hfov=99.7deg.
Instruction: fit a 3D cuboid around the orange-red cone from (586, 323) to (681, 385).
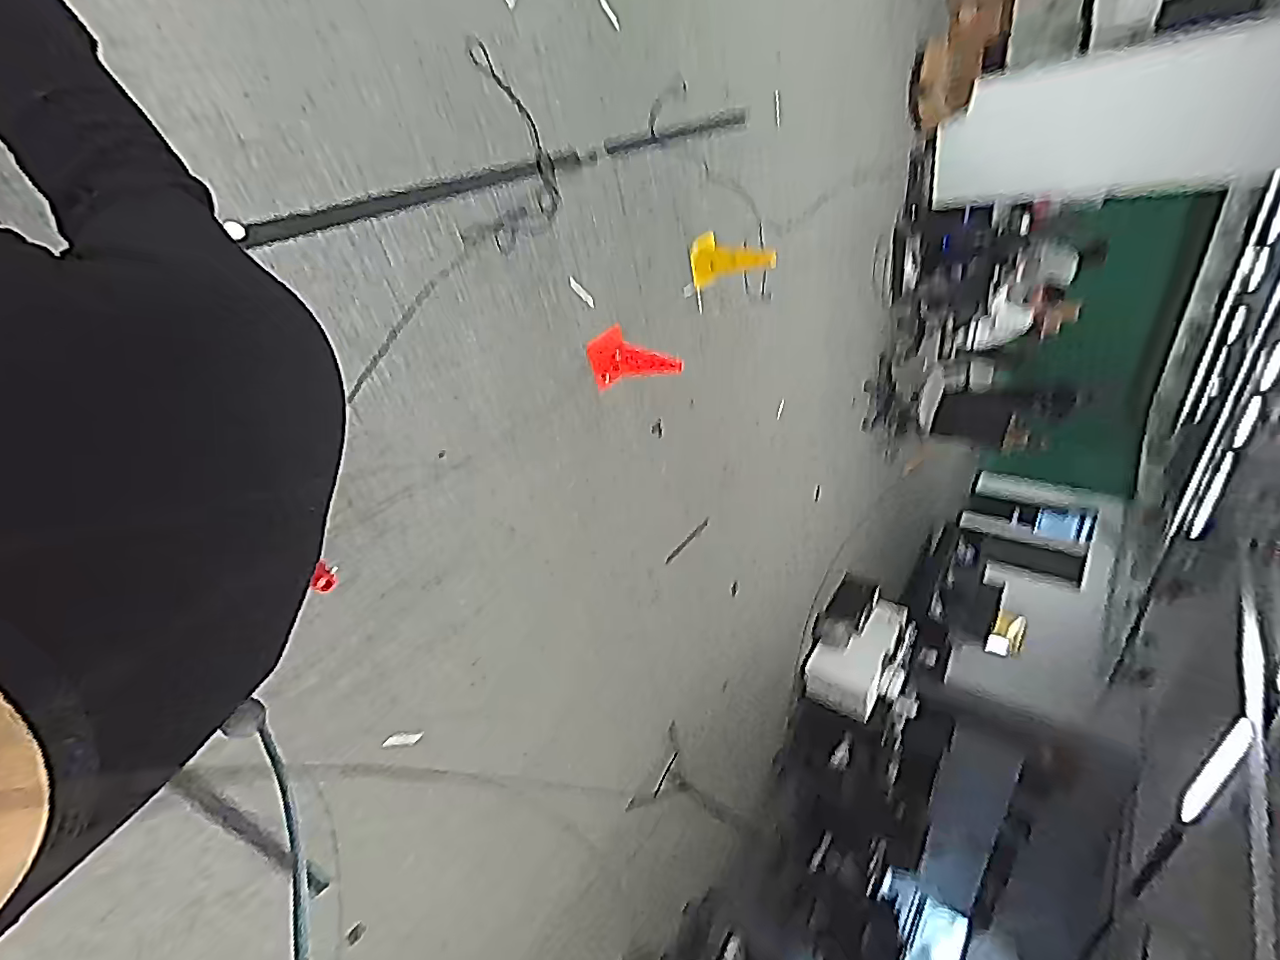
[{"bbox_3d":[0.001,-0.465,2.045,0.199,0.360,0.198,-45,135,-35],"label":"orange-red cone"}]
